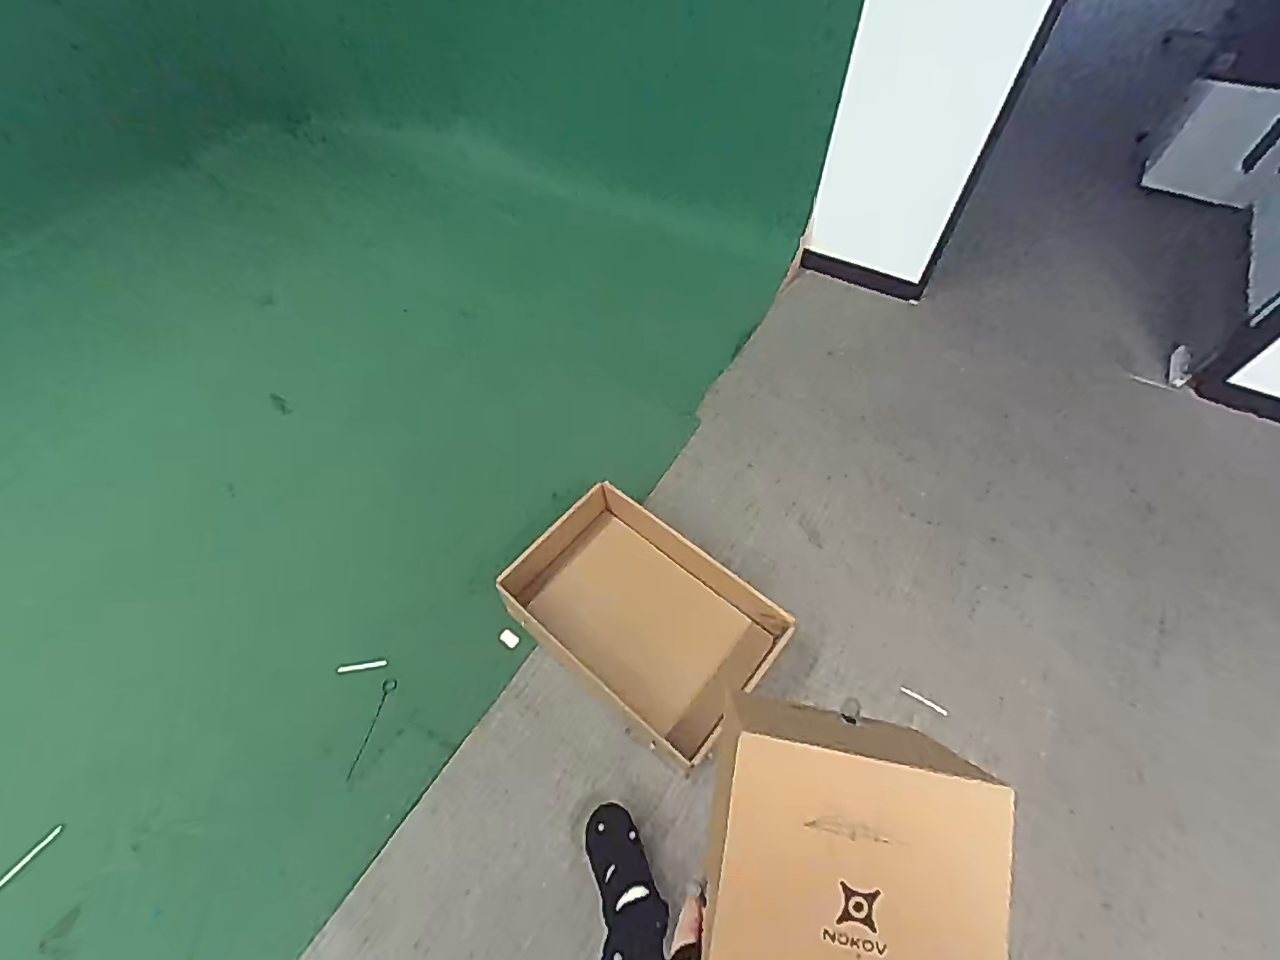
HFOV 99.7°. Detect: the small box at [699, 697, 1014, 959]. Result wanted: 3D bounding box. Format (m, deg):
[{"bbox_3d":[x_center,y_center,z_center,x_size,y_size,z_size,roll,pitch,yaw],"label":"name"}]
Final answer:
[{"bbox_3d":[0.137,0.277,0.397,0.168,0.176,0.179,9,78,8],"label":"small box"}]
